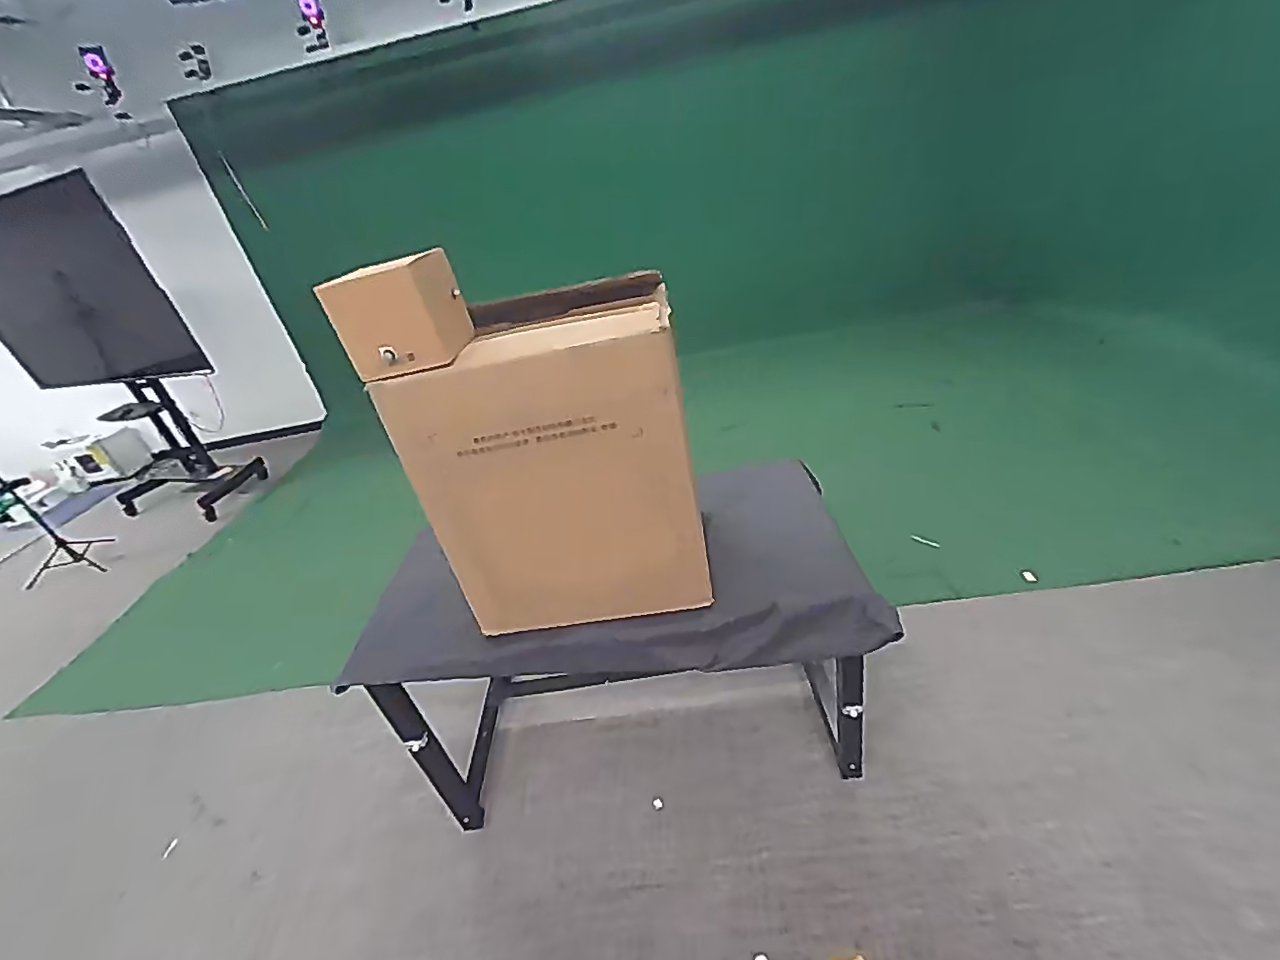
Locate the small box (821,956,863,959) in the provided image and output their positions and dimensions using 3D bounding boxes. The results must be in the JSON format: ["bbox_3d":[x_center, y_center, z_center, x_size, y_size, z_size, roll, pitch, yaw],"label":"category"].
[{"bbox_3d":[0.126,0.489,0.402,0.168,0.176,0.179,-17,48,-3],"label":"small box"}]

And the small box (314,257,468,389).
[{"bbox_3d":[-0.426,-0.280,0.963,0.168,0.176,0.179,-13,31,5],"label":"small box"}]
